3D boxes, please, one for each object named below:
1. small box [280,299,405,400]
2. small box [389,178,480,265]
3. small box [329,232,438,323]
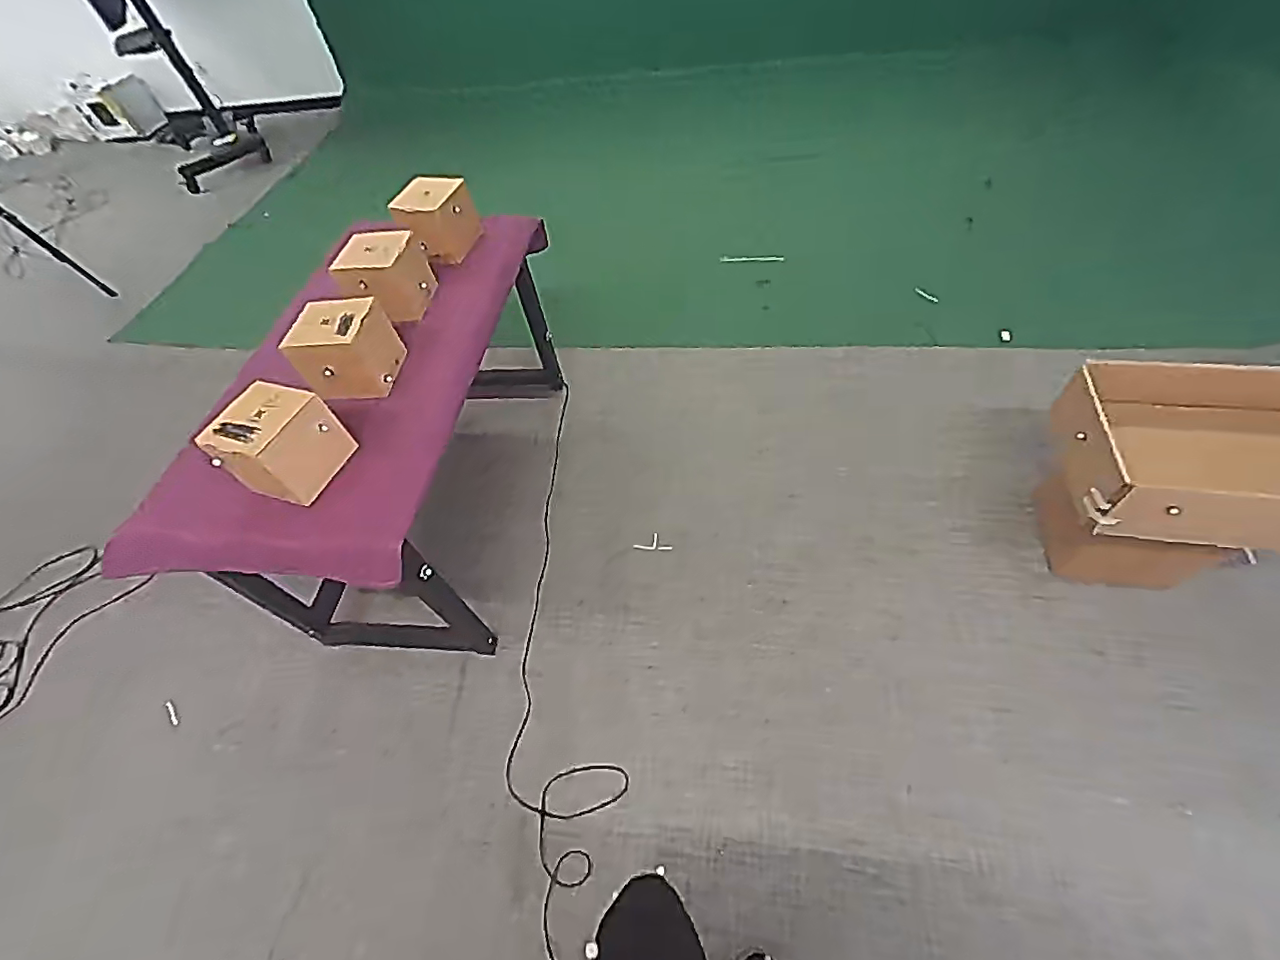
[{"bbox_3d":[-0.694,-0.306,1.290,0.179,0.176,0.168,-2,54,8],"label":"small box"},{"bbox_3d":[-0.600,-0.768,1.609,0.168,0.176,0.179,10,58,15],"label":"small box"},{"bbox_3d":[-0.681,-0.541,1.456,0.179,0.176,0.168,1,55,9],"label":"small box"}]
